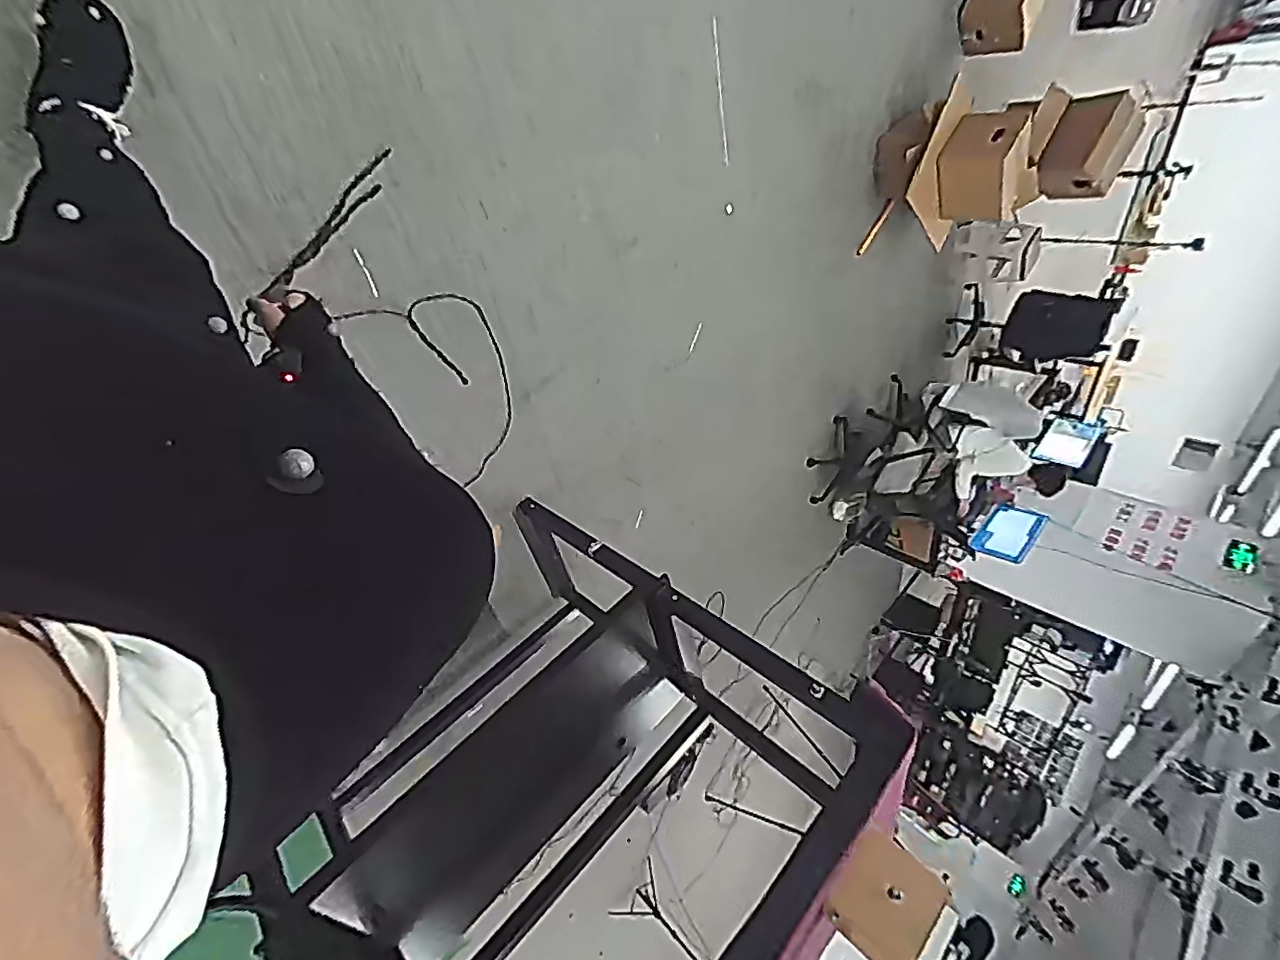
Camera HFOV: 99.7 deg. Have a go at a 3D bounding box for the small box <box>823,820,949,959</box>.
[{"bbox_3d":[0.483,0.837,1.081,0.179,0.176,0.168,-40,135,-26],"label":"small box"}]
